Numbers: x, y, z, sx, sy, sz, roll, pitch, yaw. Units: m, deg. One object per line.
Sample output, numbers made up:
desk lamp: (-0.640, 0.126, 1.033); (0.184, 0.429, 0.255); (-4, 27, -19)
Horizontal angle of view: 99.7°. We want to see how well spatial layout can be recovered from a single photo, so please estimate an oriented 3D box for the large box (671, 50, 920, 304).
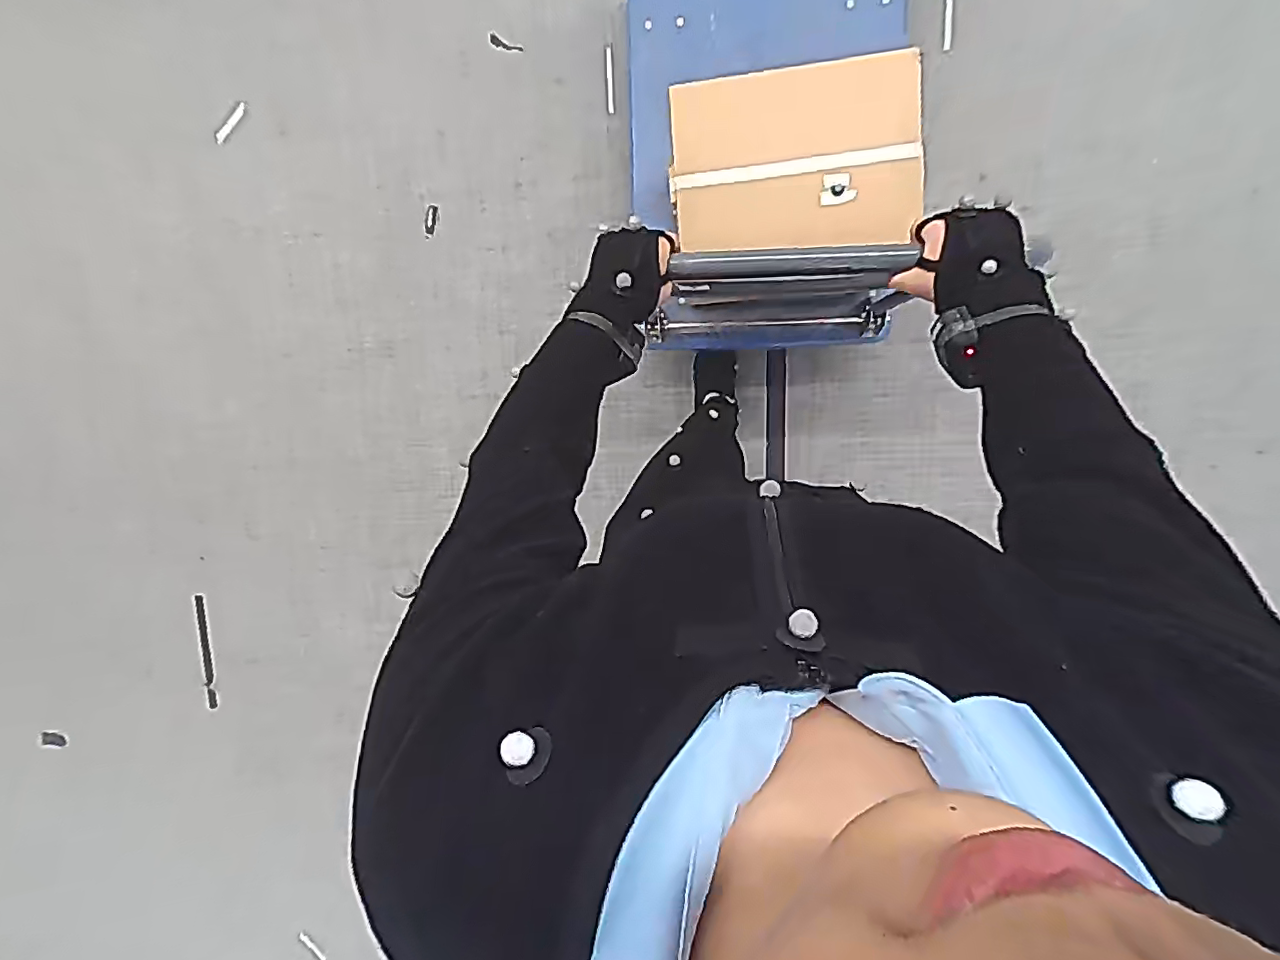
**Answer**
large box: (0.279, -0.552, 1.066); (0.408, 0.320, 0.320); (-4, 99, 7)
